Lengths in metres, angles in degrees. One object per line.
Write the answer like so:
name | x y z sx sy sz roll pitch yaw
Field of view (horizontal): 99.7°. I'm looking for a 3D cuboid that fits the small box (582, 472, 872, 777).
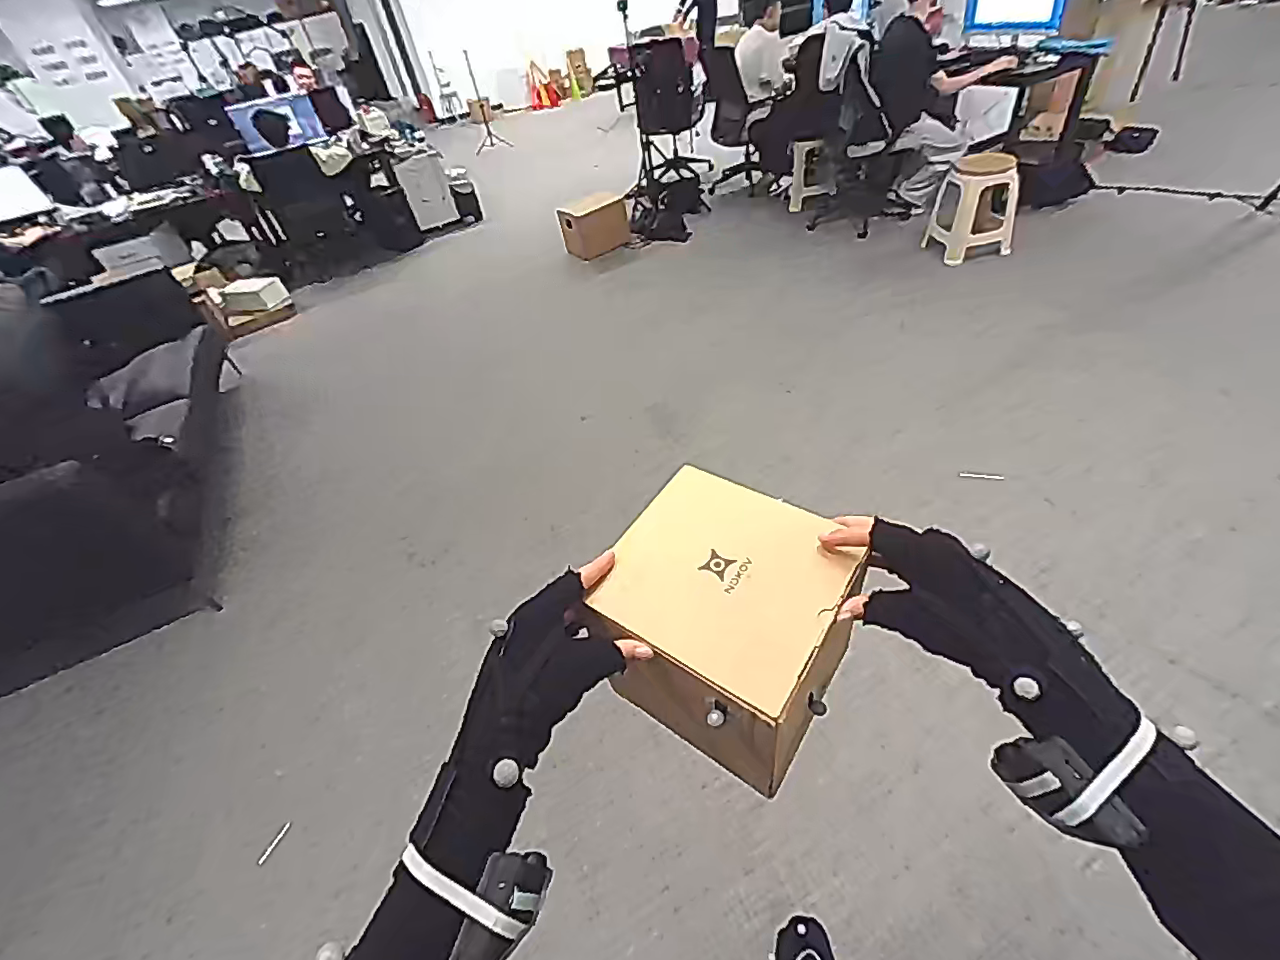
small box | 0.079 0.126 0.483 0.179 0.176 0.168 23 54 30
